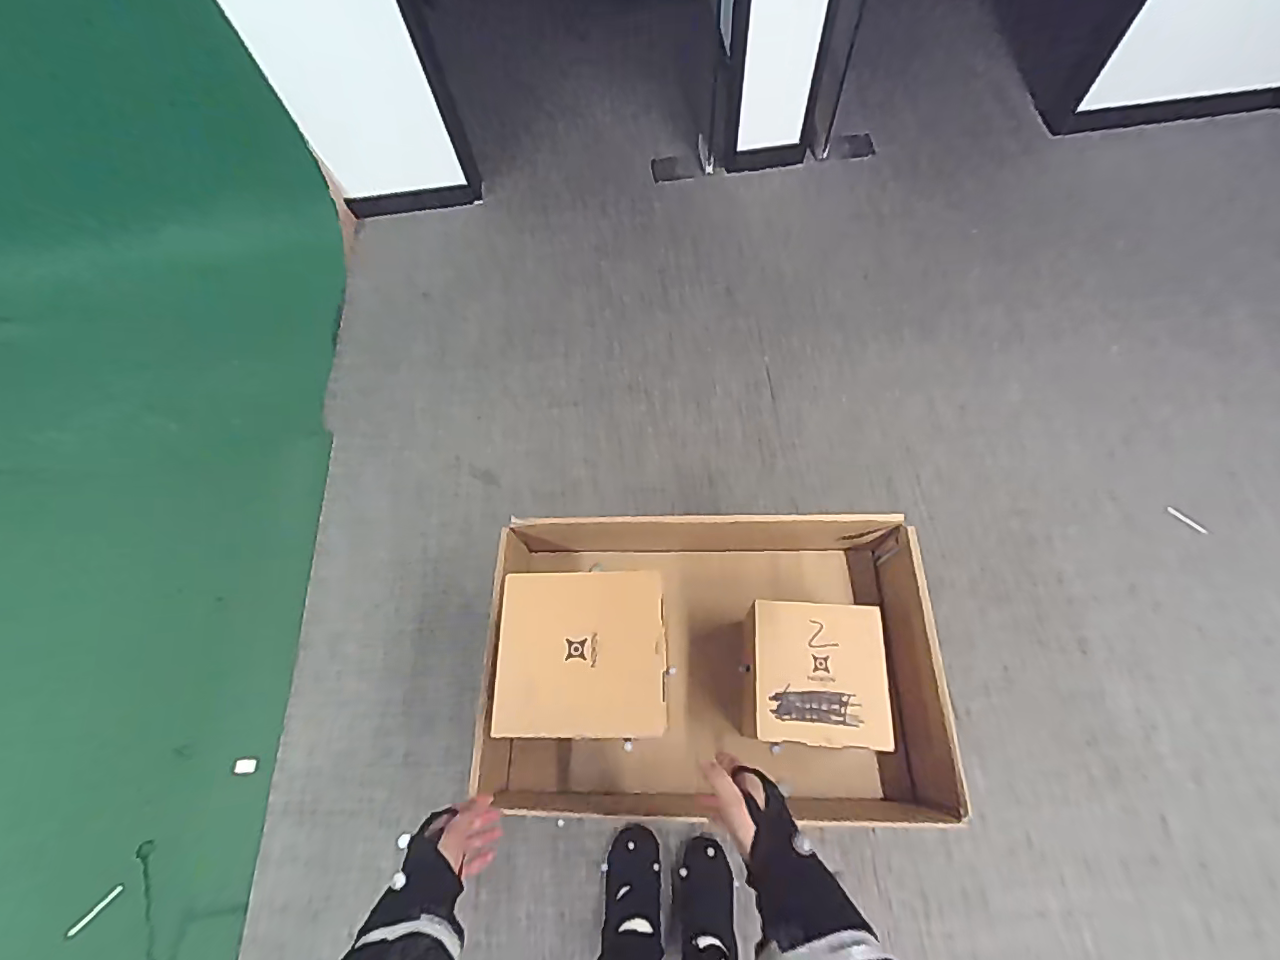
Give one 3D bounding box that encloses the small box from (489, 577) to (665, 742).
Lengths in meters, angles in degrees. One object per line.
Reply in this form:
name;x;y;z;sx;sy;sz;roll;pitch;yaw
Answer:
small box;-0.059;0.215;0.634;0.179;0.176;0.168;-1;66;1
